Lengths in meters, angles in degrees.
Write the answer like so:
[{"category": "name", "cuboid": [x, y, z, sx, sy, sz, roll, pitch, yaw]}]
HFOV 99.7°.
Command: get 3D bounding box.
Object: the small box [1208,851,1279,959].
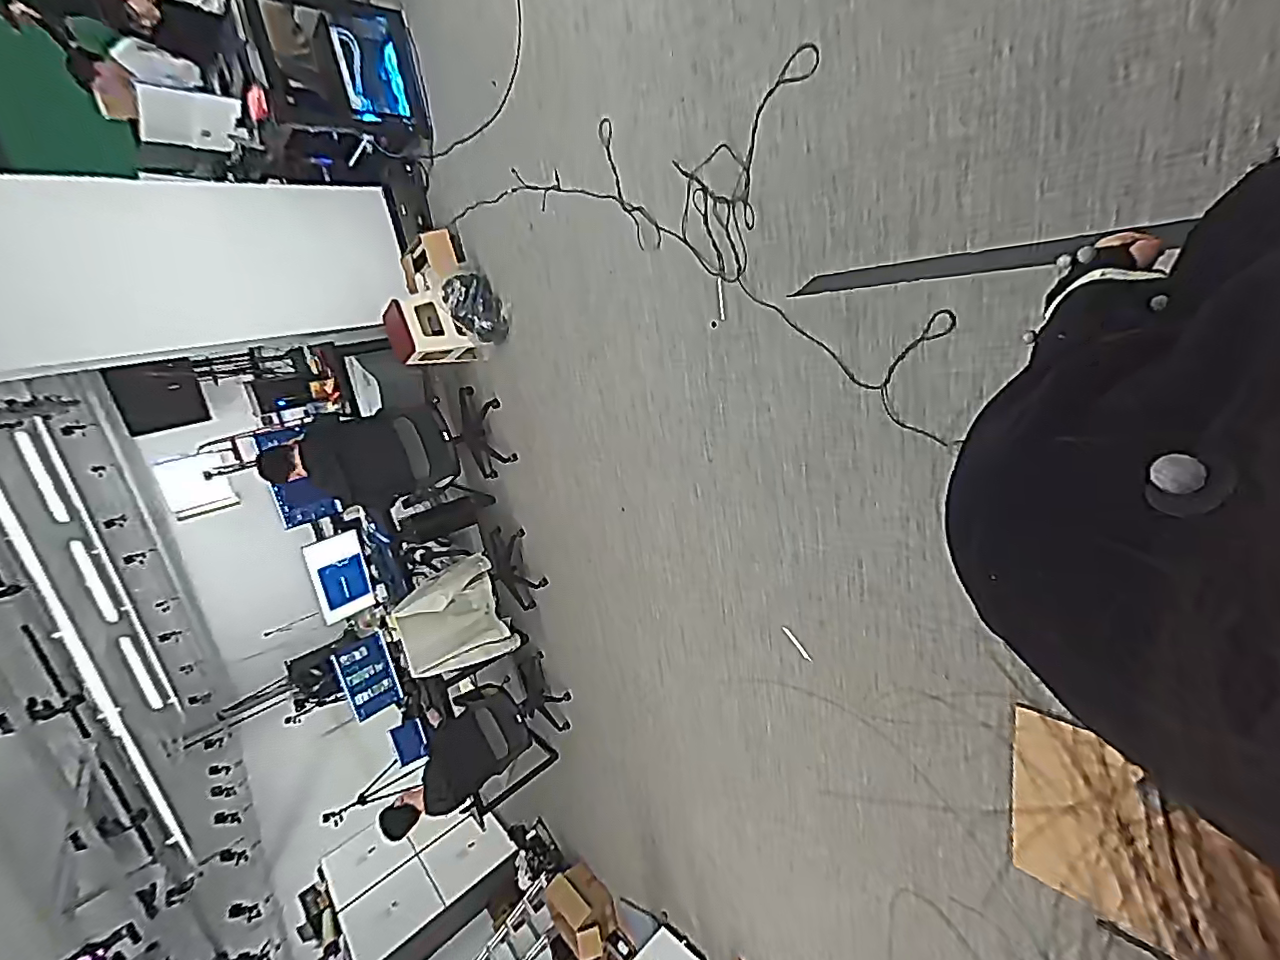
[{"category": "small box", "cuboid": [1.380, 0.969, 1.176, 0.168, 0.176, 0.179, 15, 120, 48]}]
